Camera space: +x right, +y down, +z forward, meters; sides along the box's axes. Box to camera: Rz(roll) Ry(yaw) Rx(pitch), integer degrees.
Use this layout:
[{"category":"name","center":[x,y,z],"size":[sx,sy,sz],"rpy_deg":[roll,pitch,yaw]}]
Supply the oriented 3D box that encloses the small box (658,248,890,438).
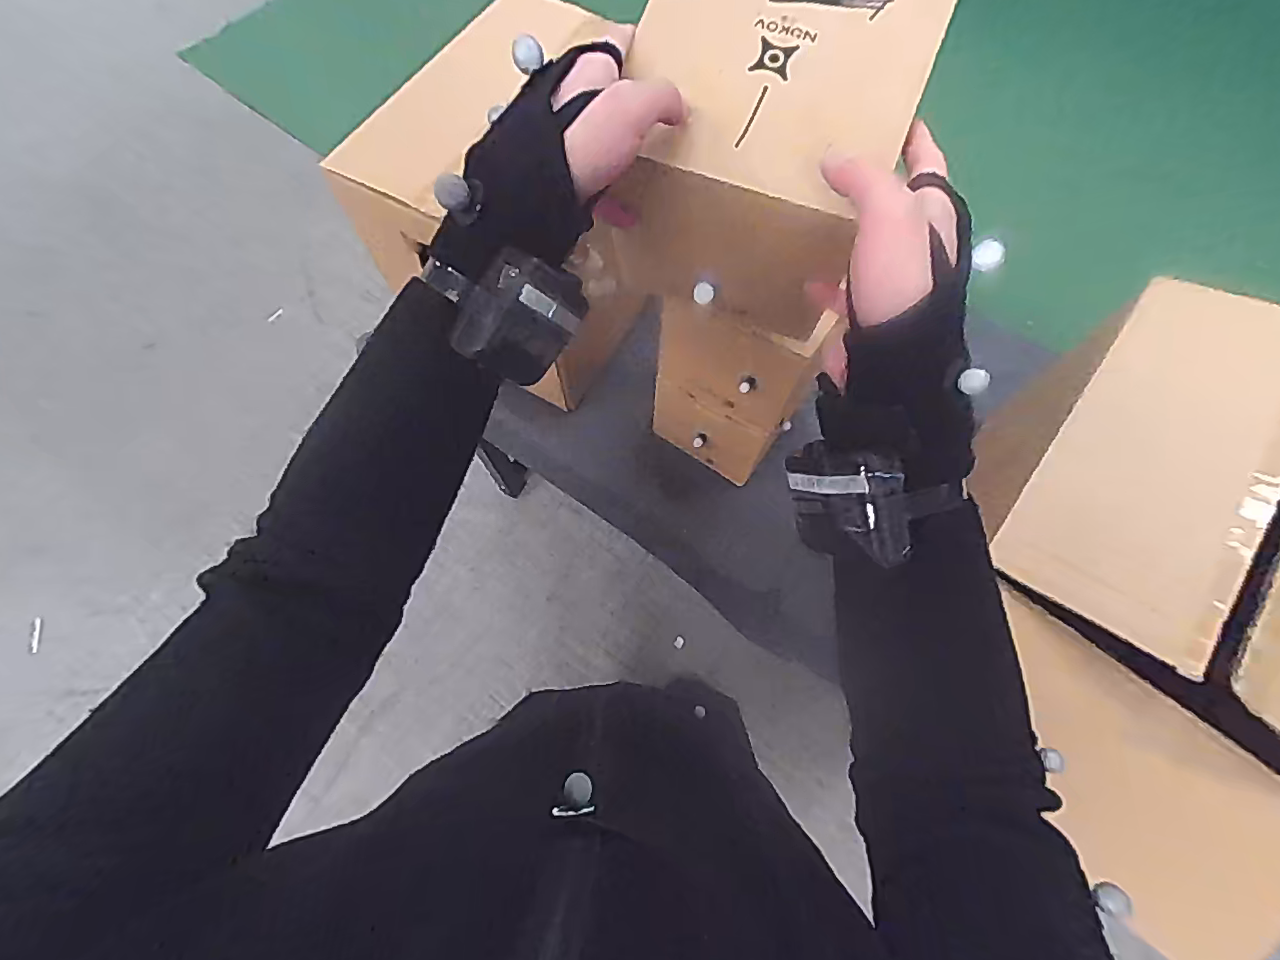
[{"category":"small box","center":[0.132,-0.176,0.596],"size":[0.168,0.176,0.179],"rpy_deg":[33,72,10]}]

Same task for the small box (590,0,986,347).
[{"category":"small box","center":[0.084,-0.215,0.353],"size":[0.168,0.176,0.179],"rpy_deg":[21,87,7]}]
